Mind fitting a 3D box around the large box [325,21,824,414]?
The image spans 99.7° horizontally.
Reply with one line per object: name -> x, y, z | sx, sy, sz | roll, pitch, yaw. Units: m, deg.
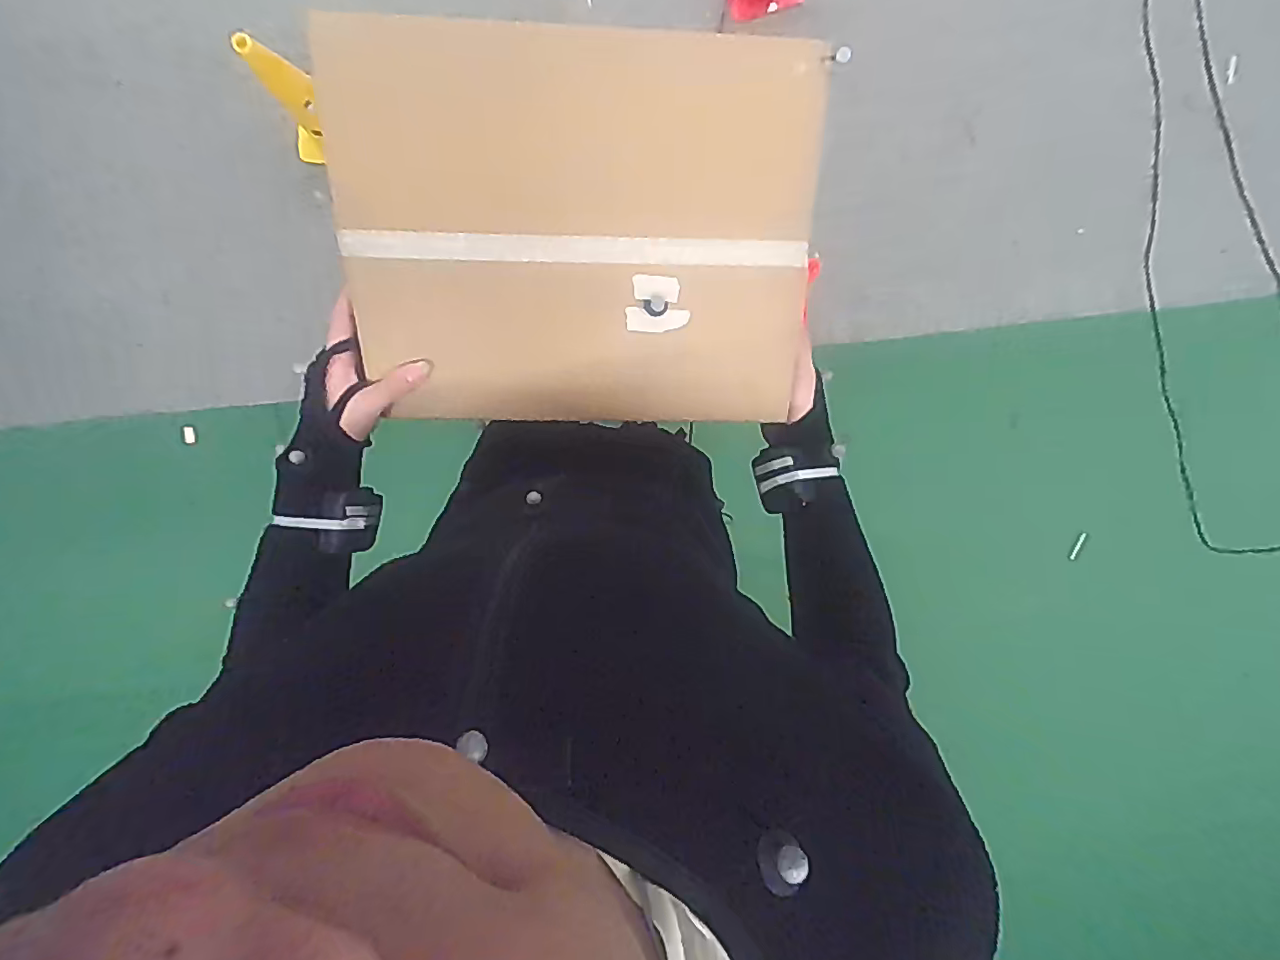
large box -> -0.060, -0.265, 0.619 | 0.408, 0.320, 0.320 | 0, 113, -4

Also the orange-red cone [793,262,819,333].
orange-red cone -> 0.379, -0.496, 1.373 | 0.199, 0.360, 0.198 | 2, 99, -2
